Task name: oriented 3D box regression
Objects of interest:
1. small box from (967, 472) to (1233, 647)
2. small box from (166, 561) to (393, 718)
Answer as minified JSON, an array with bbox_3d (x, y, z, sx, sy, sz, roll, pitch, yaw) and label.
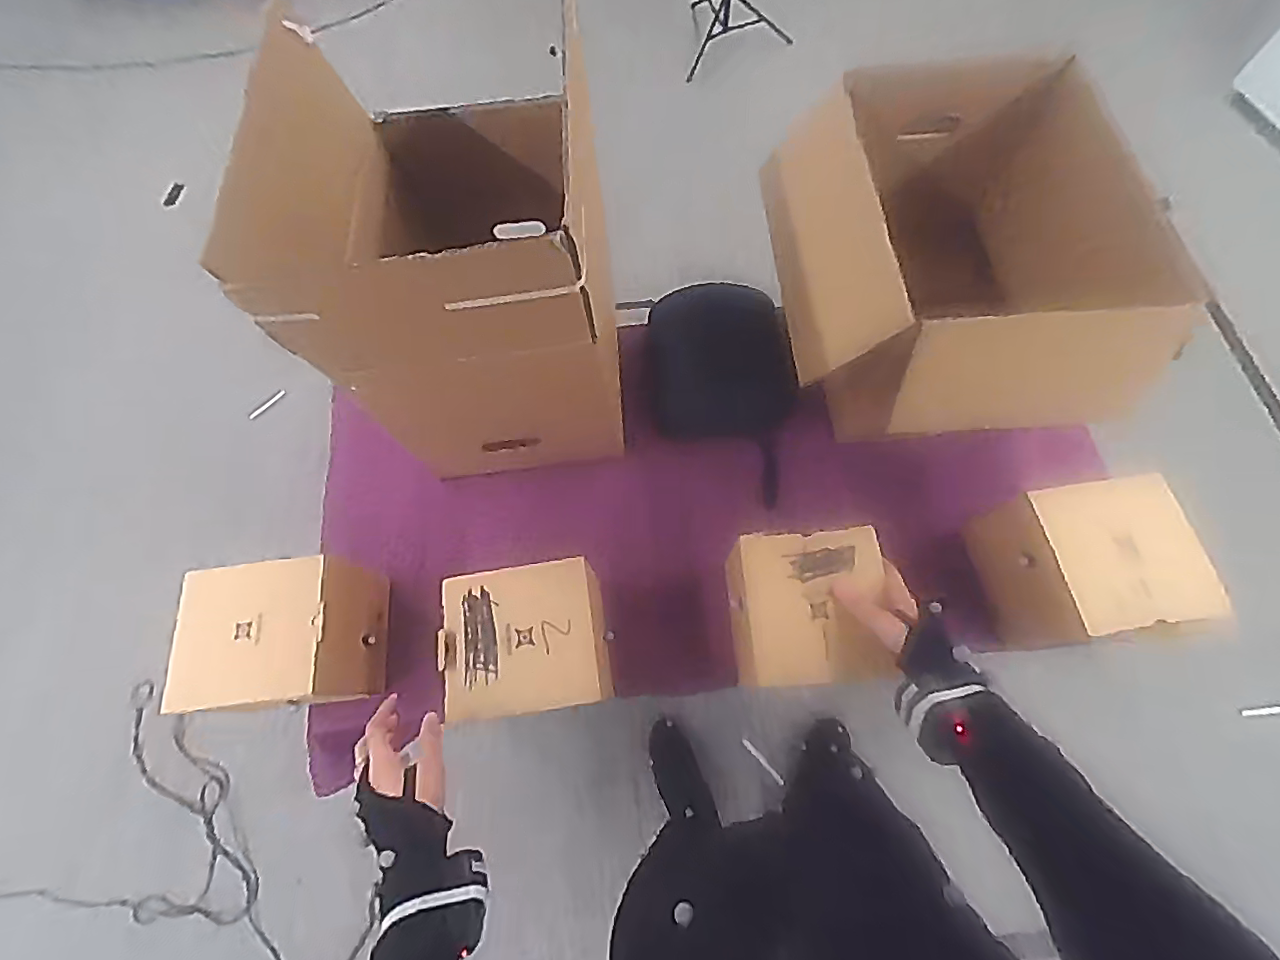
[{"bbox_3d":[0.563,0.110,0.697,0.168,0.176,0.179,-9,69,1],"label":"small box"},{"bbox_3d":[-0.455,0.215,0.712,0.179,0.176,0.168,-7,68,-1],"label":"small box"}]
